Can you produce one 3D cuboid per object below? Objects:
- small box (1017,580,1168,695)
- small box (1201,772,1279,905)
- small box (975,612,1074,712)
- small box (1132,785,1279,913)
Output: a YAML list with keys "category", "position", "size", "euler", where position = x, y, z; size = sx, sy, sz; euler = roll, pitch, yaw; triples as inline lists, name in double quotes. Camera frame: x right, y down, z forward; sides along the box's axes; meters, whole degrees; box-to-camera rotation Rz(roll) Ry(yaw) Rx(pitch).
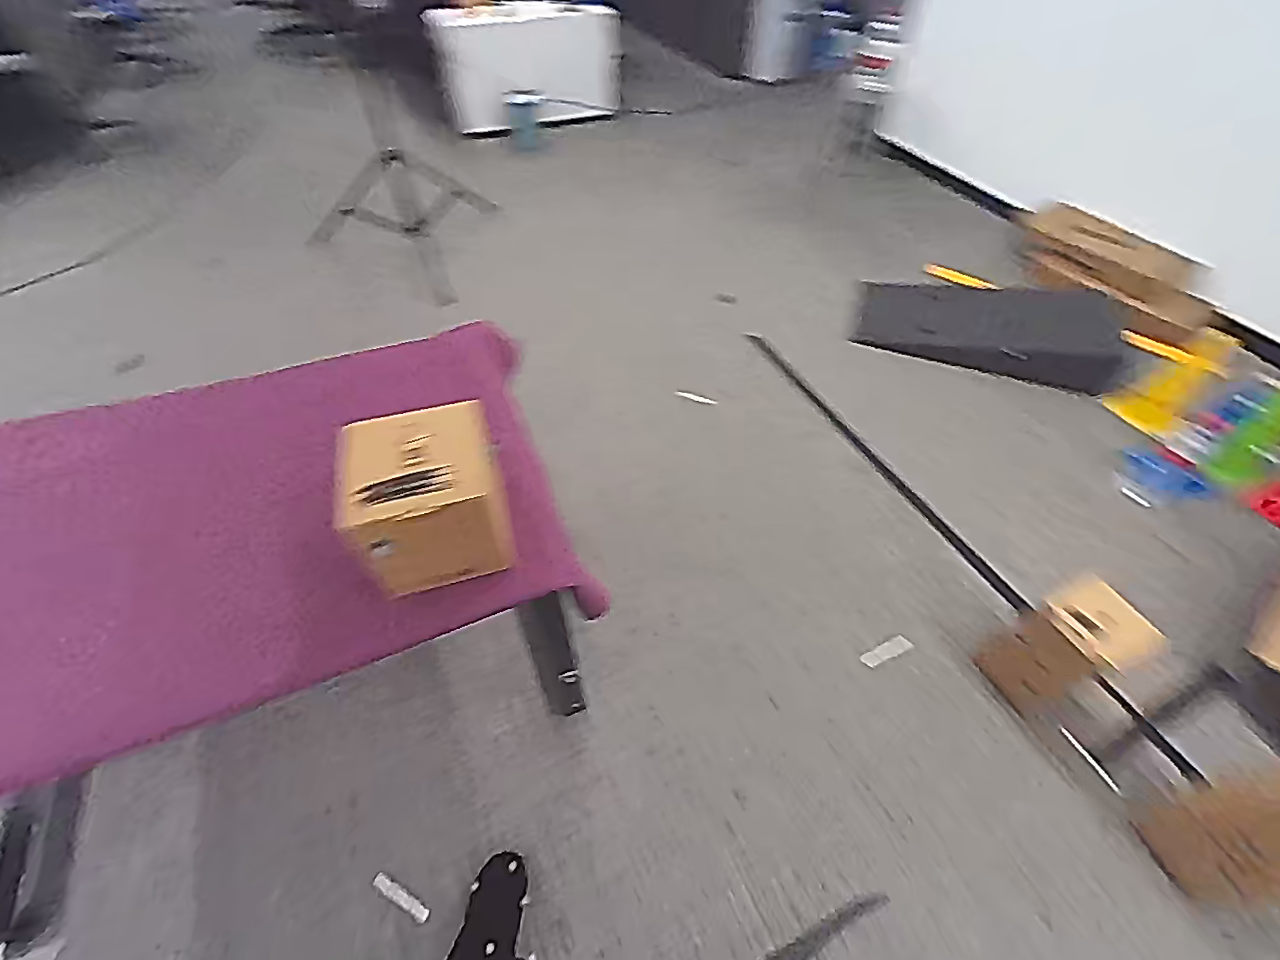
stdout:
- category: "small box"
  position: [1.011, 0.362, 1.231]
  size: [0.179, 0.176, 0.168]
  euler: [-18, 54, -17]
- category: "small box"
  position: [1.228, 0.659, 1.003]
  size: [0.179, 0.176, 0.168]
  euler: [-19, 56, -16]
- category: "small box"
  position: [1.004, 0.460, 1.363]
  size: [0.168, 0.176, 0.179]
  euler: [-20, 54, -18]
- category: "small box"
  position: [1.211, 0.764, 1.127]
  size: [0.168, 0.176, 0.179]
  euler: [-15, 54, -14]
